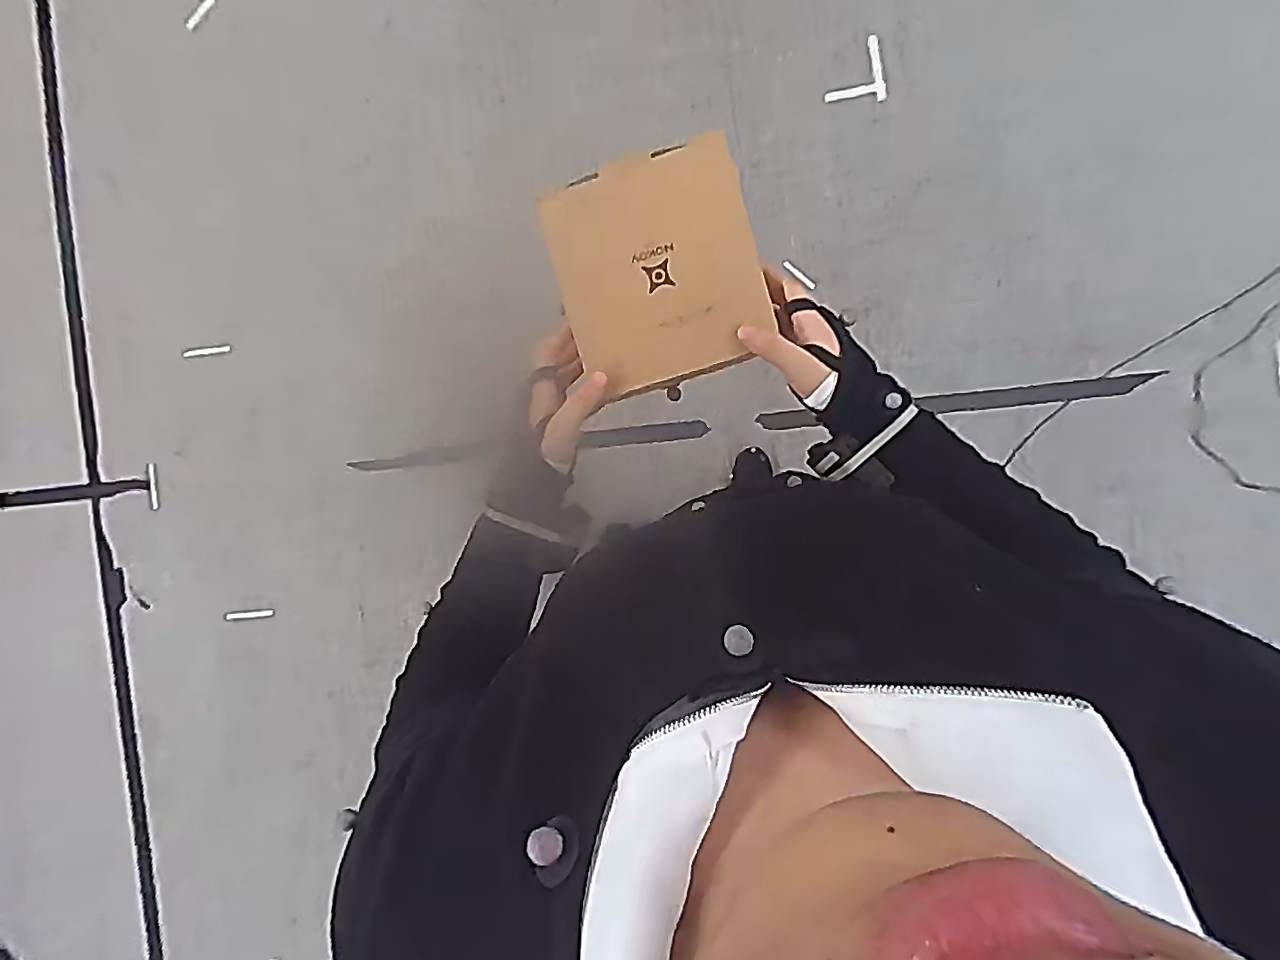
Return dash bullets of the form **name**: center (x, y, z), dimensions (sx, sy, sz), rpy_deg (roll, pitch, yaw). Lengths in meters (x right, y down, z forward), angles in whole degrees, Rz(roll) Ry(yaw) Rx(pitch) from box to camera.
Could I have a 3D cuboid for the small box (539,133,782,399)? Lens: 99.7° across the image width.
- **small box**: center (0.019, -0.184, 0.523), dimensions (0.168, 0.176, 0.179), rpy_deg (-16, 97, 4)
